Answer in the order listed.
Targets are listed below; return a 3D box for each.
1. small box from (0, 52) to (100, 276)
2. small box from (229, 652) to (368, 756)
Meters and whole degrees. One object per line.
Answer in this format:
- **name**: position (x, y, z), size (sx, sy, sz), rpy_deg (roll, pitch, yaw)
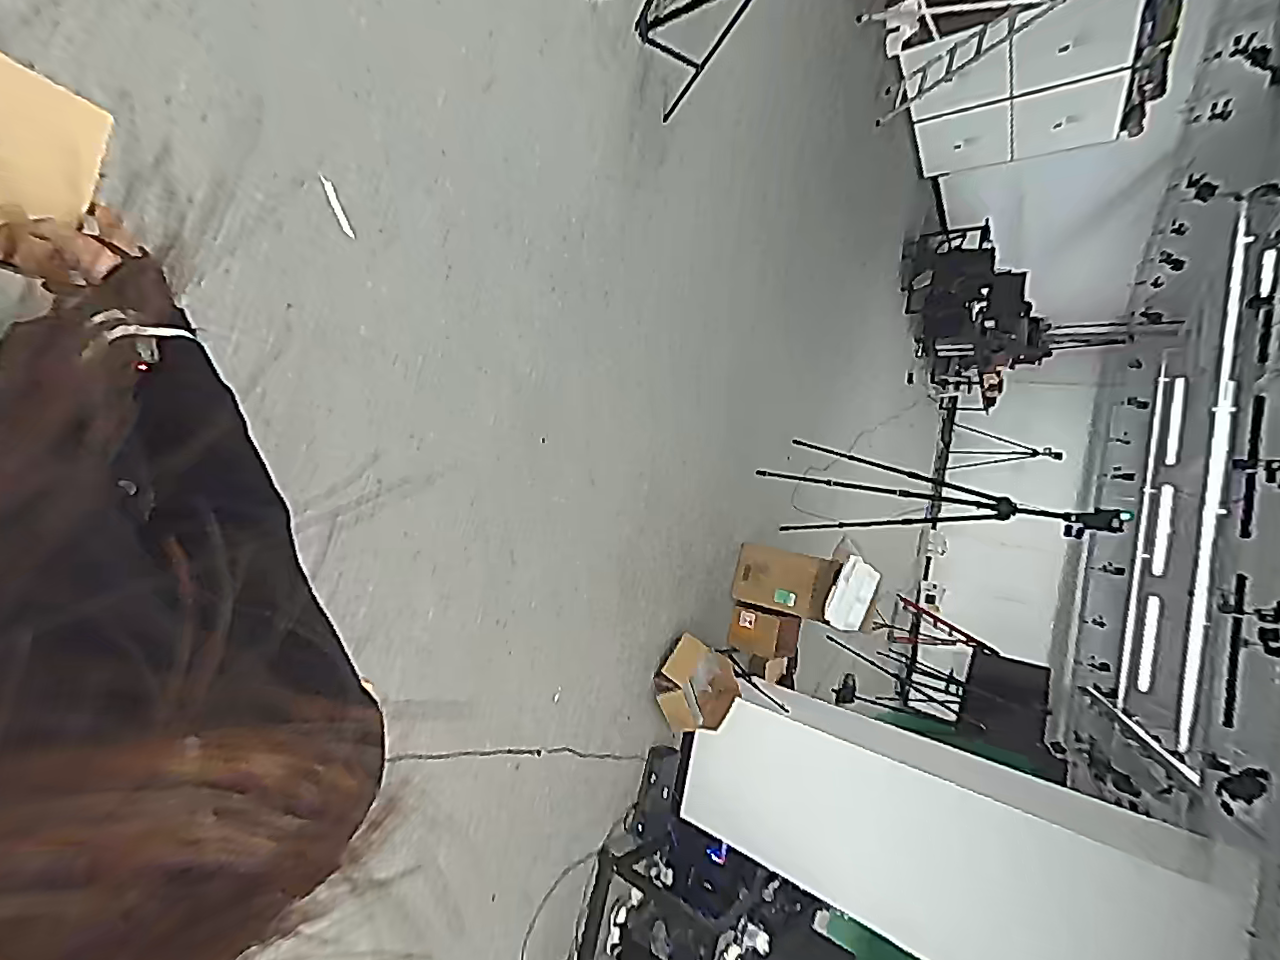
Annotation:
- **small box**: position (-0.654, -0.311, 0.496), size (0.168, 0.176, 0.179), rpy_deg (14, 92, -60)
- **small box**: position (-0.754, 0.492, 1.197), size (0.179, 0.176, 0.168), rpy_deg (38, 66, -51)
